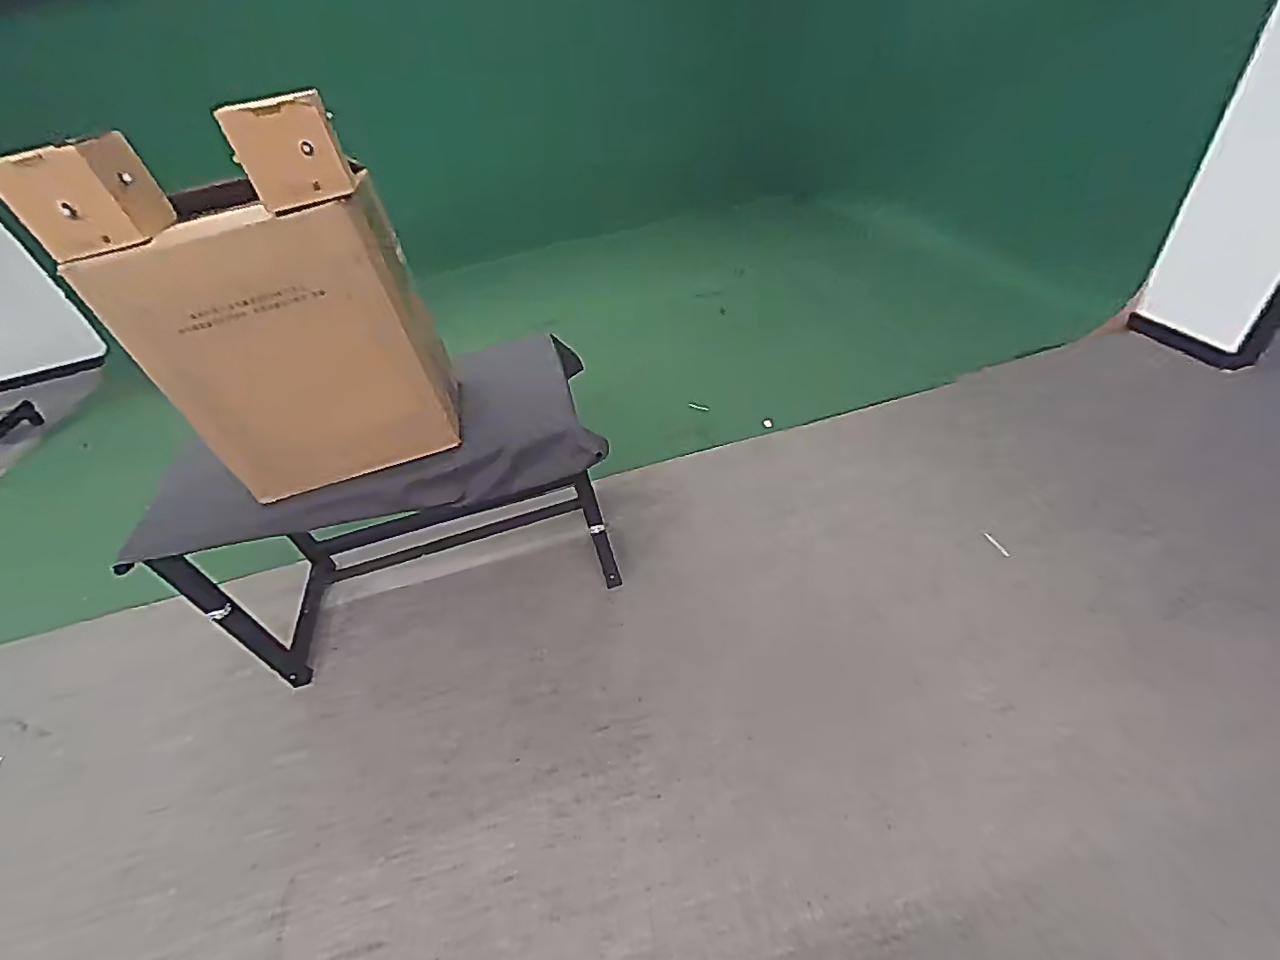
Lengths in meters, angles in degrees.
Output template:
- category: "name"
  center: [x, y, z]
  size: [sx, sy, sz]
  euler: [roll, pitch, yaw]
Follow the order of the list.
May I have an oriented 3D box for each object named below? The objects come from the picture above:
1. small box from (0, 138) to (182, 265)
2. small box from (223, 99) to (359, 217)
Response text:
- category: "small box"
  center: [-1.049, -0.536, 1.048]
  size: [0.168, 0.176, 0.179]
  euler: [-17, 42, -5]
- category: "small box"
  center: [-0.679, -0.638, 1.075]
  size: [0.168, 0.176, 0.179]
  euler: [-20, 41, -13]
